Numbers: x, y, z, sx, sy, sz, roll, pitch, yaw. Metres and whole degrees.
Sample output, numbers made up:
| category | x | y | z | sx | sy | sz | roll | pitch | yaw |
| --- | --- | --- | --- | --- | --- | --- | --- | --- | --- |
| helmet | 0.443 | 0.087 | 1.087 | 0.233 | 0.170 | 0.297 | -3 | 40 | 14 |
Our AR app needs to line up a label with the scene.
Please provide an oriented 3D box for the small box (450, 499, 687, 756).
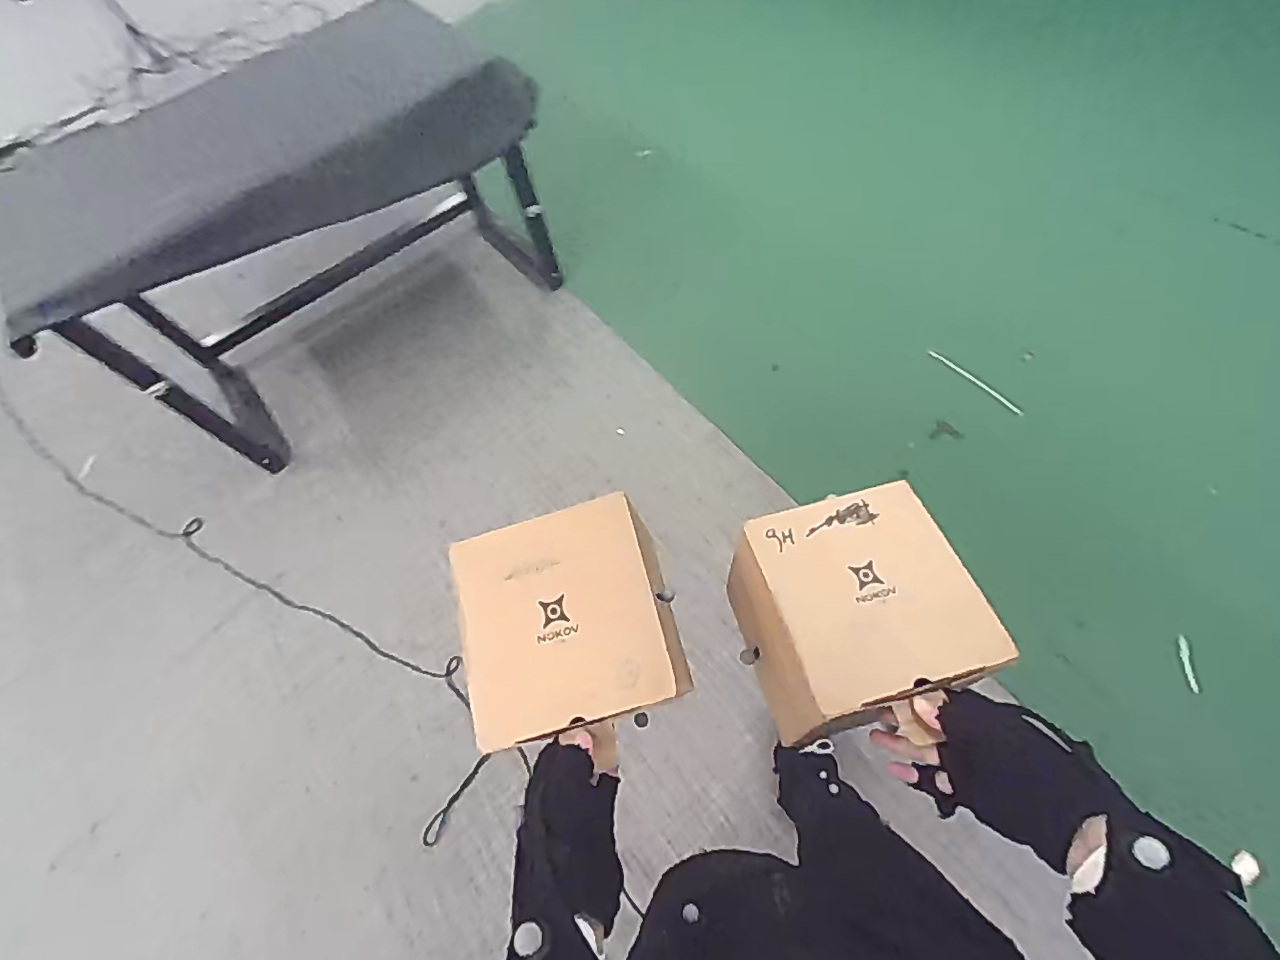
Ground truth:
| category | x | y | z | sx | sy | sz | roll | pitch | yaw |
| --- | --- | --- | --- | --- | --- | --- | --- | --- | --- |
| small box | -0.059 | 0.143 | 0.529 | 0.168 | 0.176 | 0.179 | -19 | 69 | 3 |
